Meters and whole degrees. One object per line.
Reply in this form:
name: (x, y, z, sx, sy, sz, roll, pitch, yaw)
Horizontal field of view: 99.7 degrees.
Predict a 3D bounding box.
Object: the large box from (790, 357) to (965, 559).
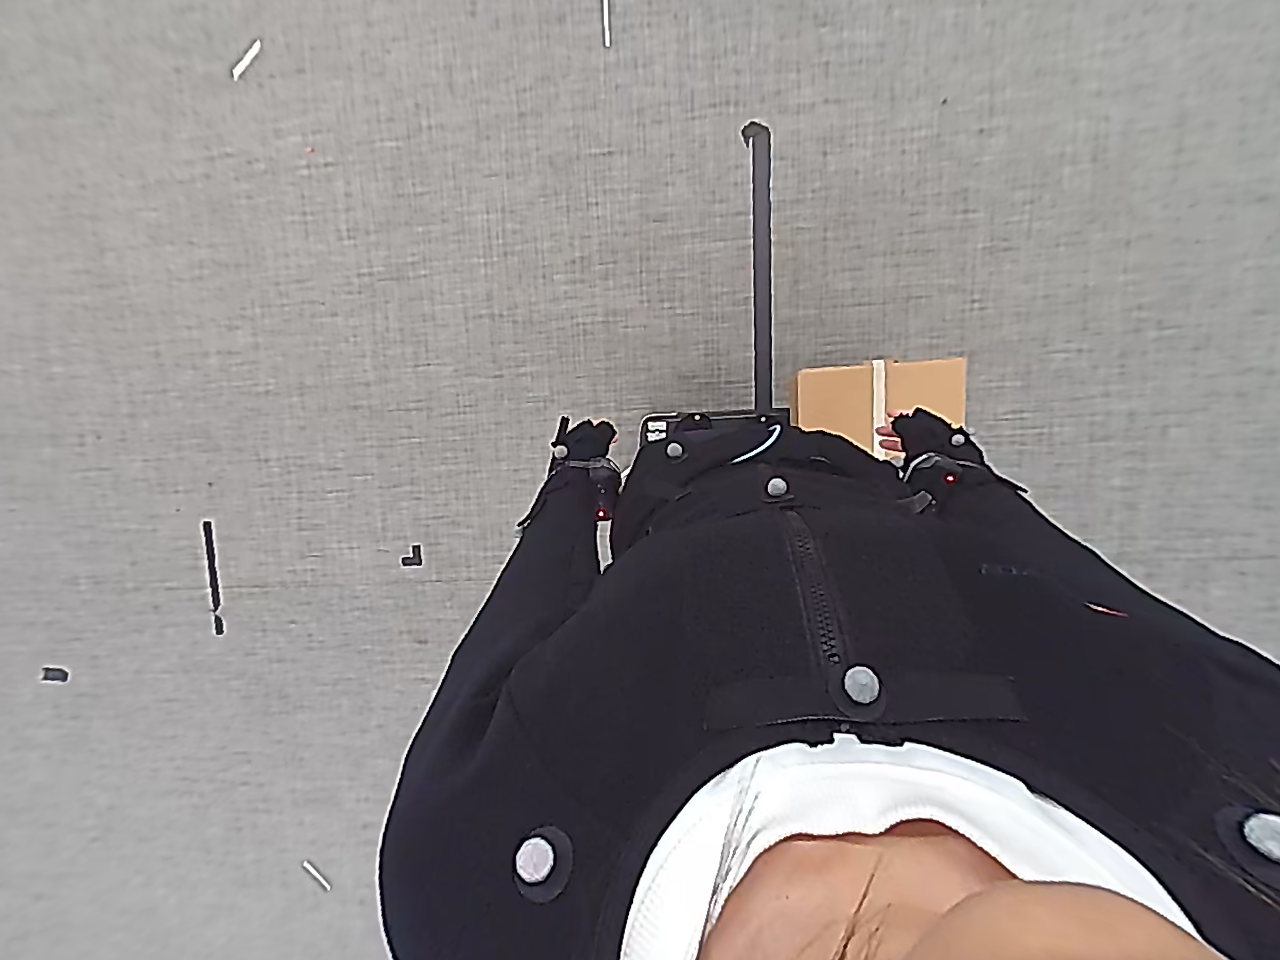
large box: (0.520, -0.058, 1.241, 0.320, 0.320, 0.408, -2, 99, 14)
